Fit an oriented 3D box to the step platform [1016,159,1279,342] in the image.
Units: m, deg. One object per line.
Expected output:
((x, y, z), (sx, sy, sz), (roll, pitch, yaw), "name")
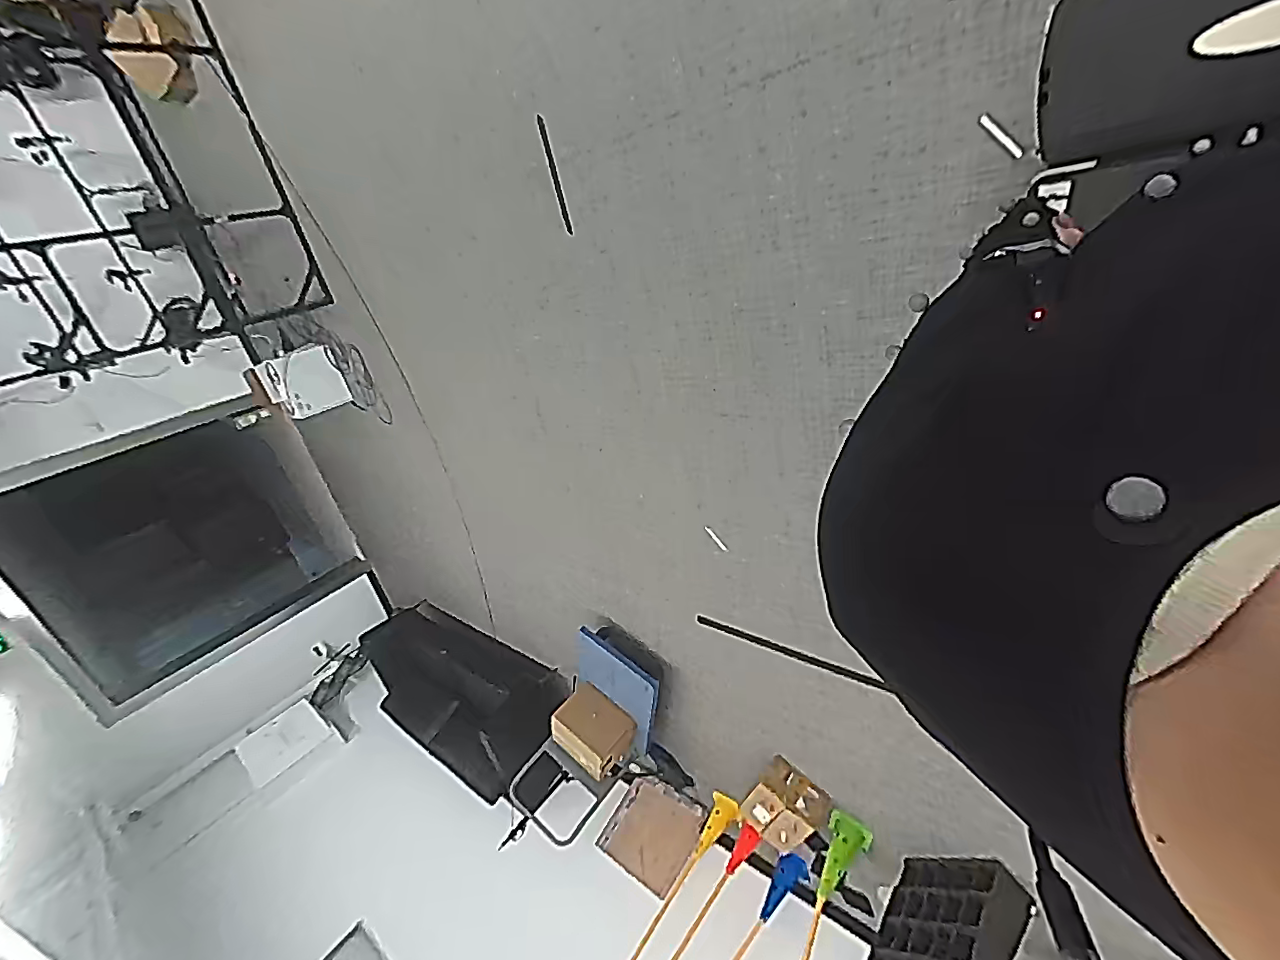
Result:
((1.065, -0.396, 0.929), (0.684, 0.204, 0.286), (16, 126, 40), "step platform")
